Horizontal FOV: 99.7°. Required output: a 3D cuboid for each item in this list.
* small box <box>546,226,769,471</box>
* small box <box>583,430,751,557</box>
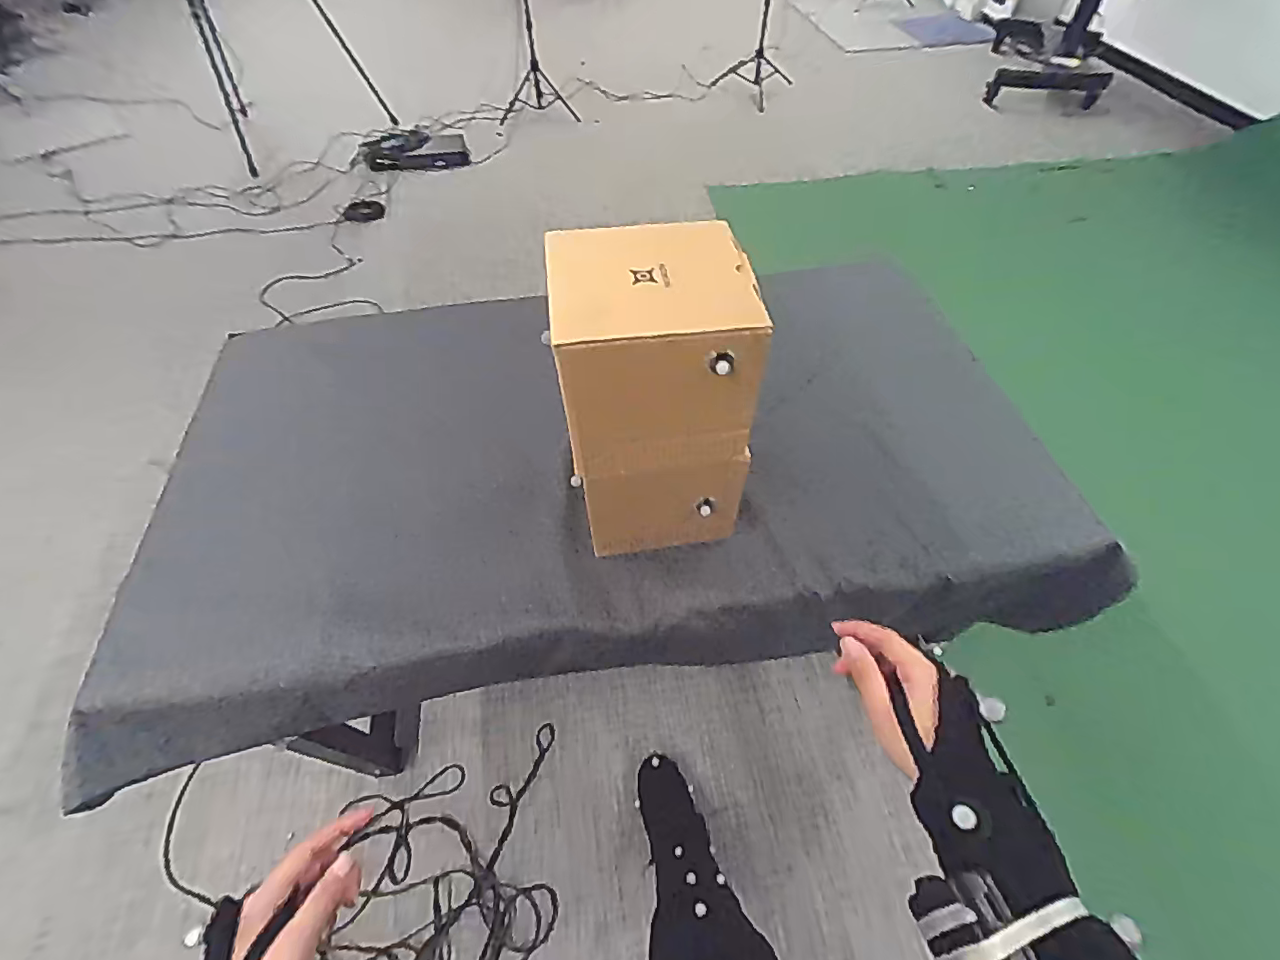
[{"bbox_3d":[0.009,-0.123,0.531,0.179,0.176,0.168,-6,53,-5],"label":"small box"},{"bbox_3d":[0.019,-0.024,0.660,0.179,0.176,0.168,-9,53,-5],"label":"small box"}]
